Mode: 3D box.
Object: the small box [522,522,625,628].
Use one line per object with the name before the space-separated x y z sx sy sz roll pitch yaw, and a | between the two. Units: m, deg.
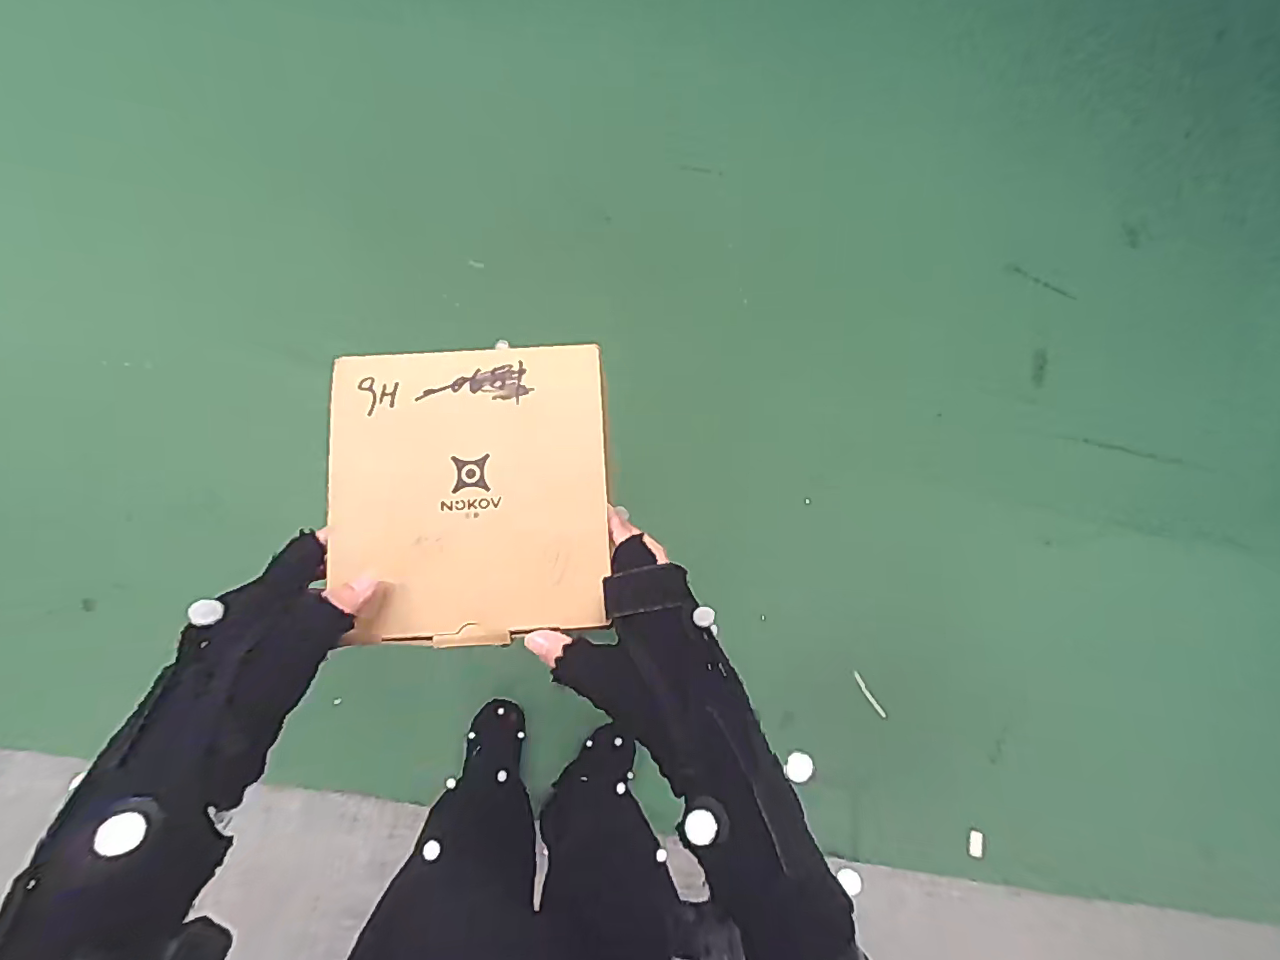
small box | -0.139 0.205 1.145 0.168 0.176 0.179 16 74 -4
